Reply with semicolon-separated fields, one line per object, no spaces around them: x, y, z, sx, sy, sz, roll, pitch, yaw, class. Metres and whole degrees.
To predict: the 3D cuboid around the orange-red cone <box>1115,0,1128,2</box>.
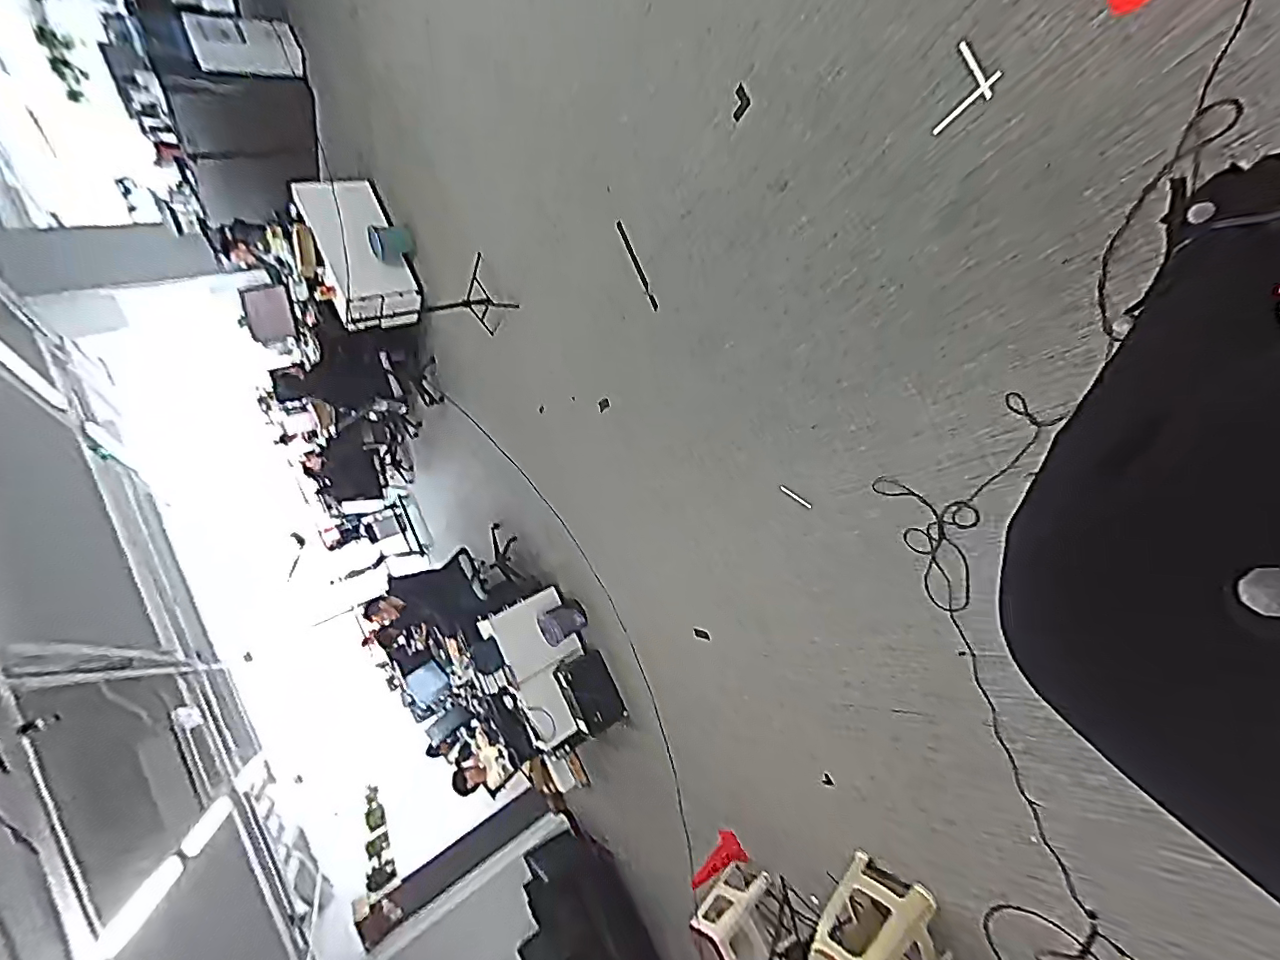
0.727;-0.885;0.786;0.199;0.360;0.198;-20;91;59;orange-red cone
